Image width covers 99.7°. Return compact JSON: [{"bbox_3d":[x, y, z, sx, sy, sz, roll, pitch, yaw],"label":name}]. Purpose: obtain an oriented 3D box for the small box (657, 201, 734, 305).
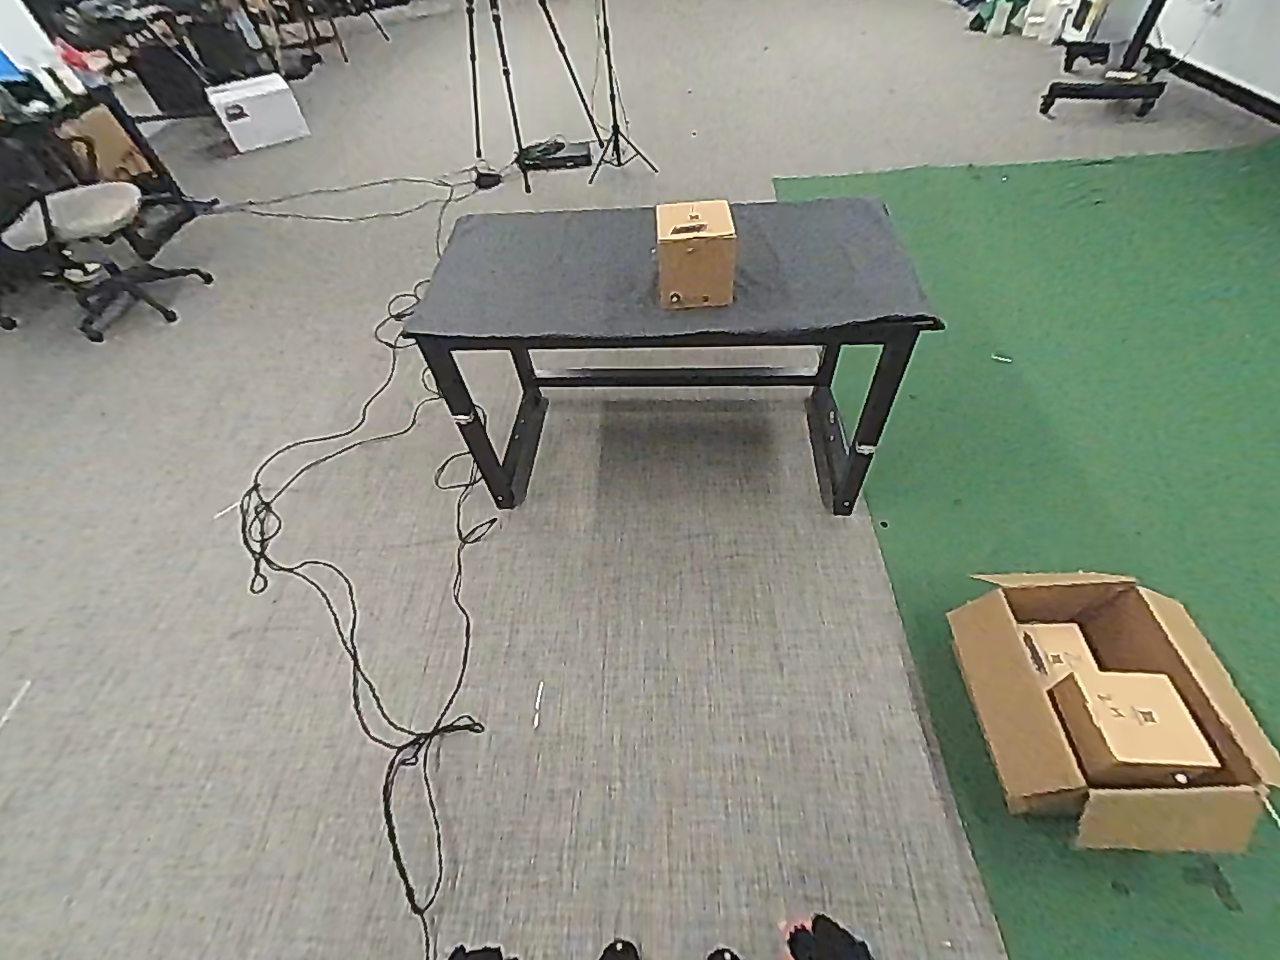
[{"bbox_3d":[0.126,-0.520,1.254,0.168,0.176,0.179,-3,49,3],"label":"small box"}]
